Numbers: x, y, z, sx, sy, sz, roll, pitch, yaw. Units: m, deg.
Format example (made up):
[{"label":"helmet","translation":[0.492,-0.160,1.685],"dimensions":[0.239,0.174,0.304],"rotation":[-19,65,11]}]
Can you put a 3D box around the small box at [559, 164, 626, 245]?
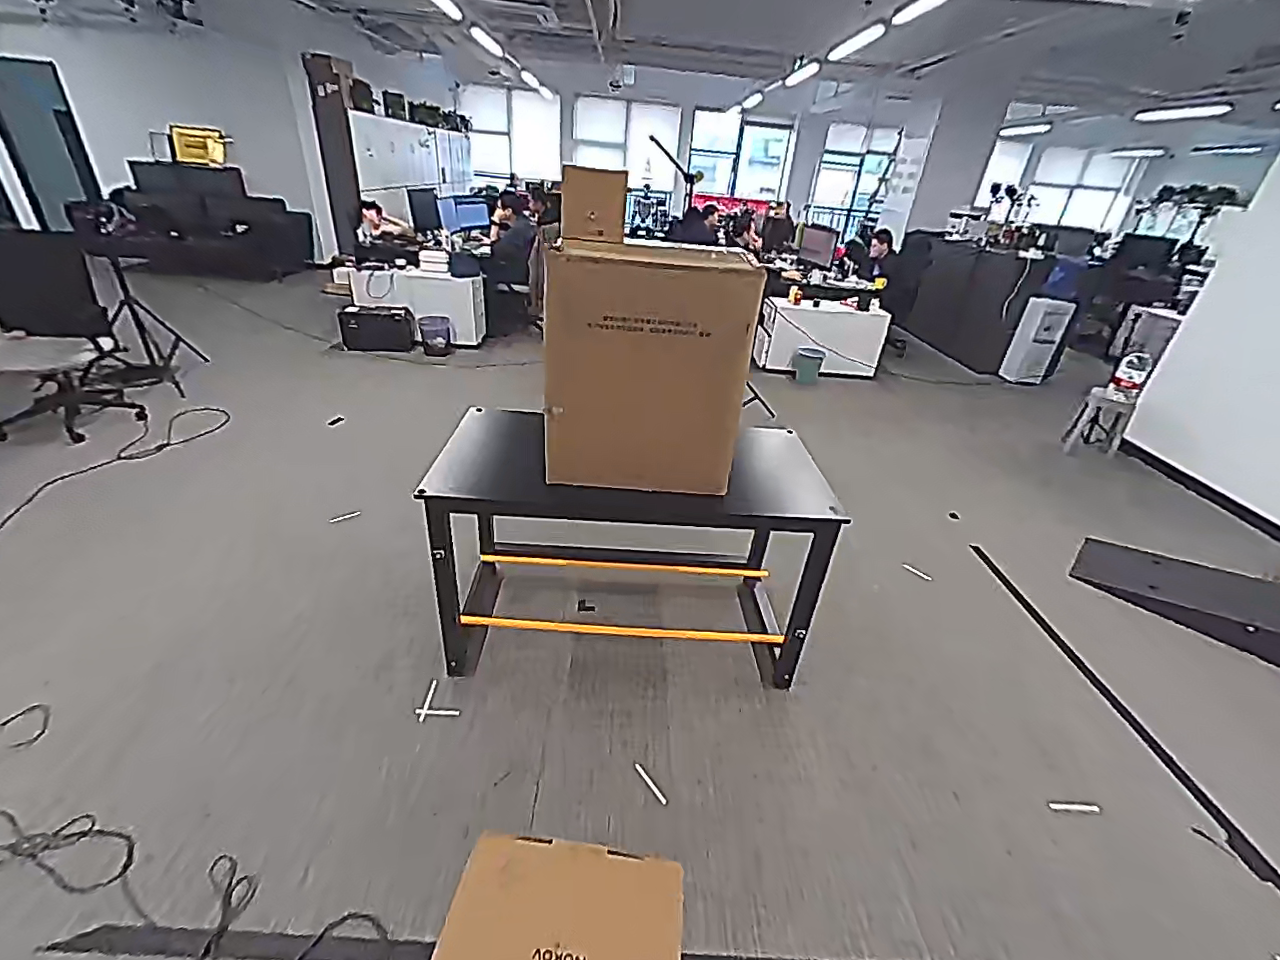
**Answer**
[{"label":"small box","translation":[-0.126,-0.732,1.441],"dimensions":[0.168,0.176,0.179],"rotation":[3,28,-5]}]
